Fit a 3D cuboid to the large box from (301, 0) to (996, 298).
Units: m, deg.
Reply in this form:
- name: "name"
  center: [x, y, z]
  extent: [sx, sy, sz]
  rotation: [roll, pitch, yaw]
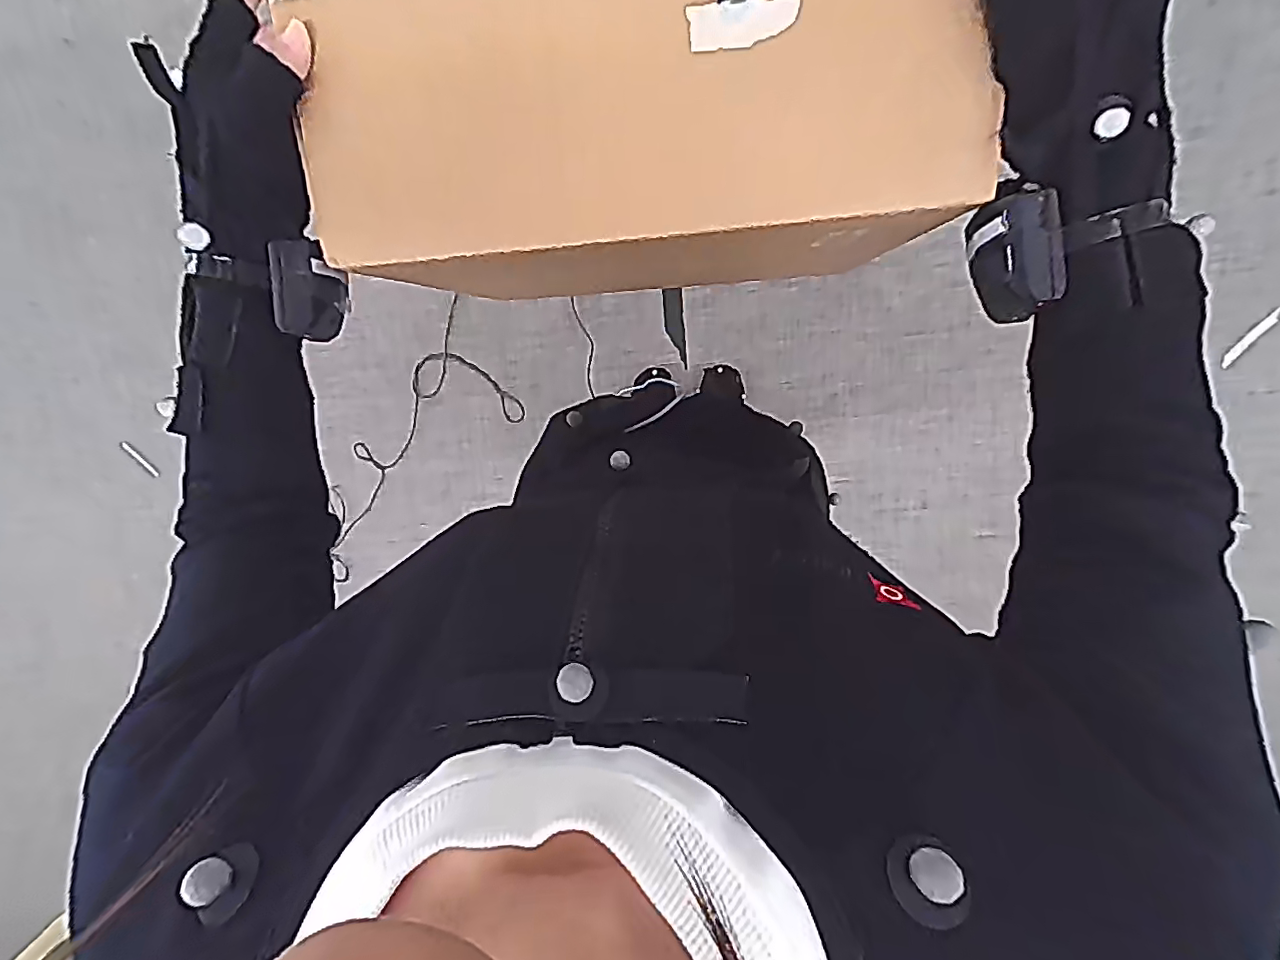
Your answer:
- name: "large box"
  center: [0.005, -0.342, 0.444]
  extent: [0.408, 0.320, 0.320]
  rotation: [-3, 105, 7]
